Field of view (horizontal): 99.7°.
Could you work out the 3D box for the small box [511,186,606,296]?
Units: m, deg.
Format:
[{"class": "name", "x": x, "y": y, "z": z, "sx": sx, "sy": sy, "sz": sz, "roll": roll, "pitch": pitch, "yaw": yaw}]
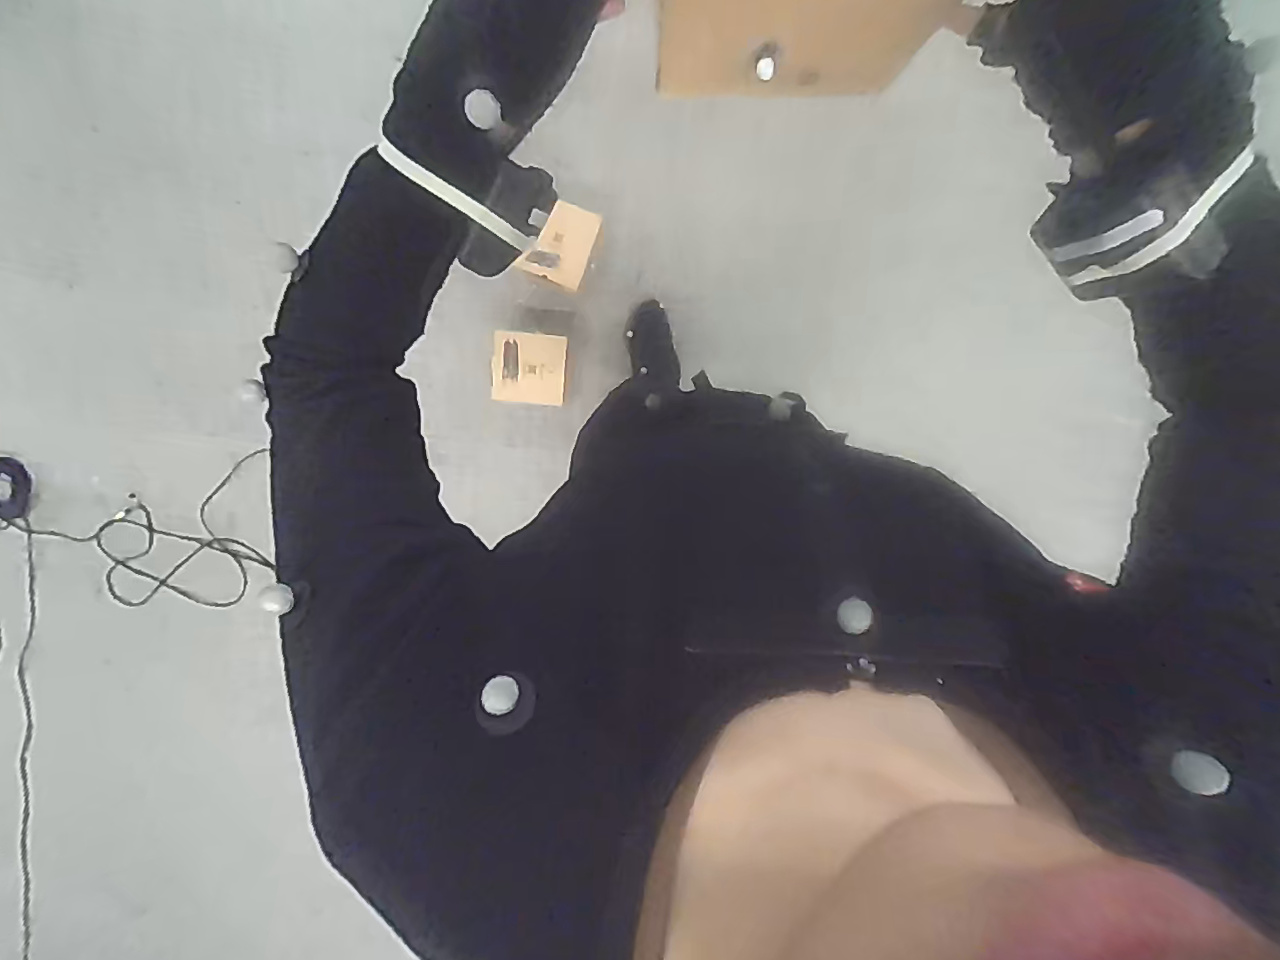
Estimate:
[{"class": "small box", "x": -0.187, "y": -0.564, "z": 1.305, "sx": 0.168, "sy": 0.176, "sz": 0.179, "roll": 21, "pitch": 98, "yaw": -2}]
